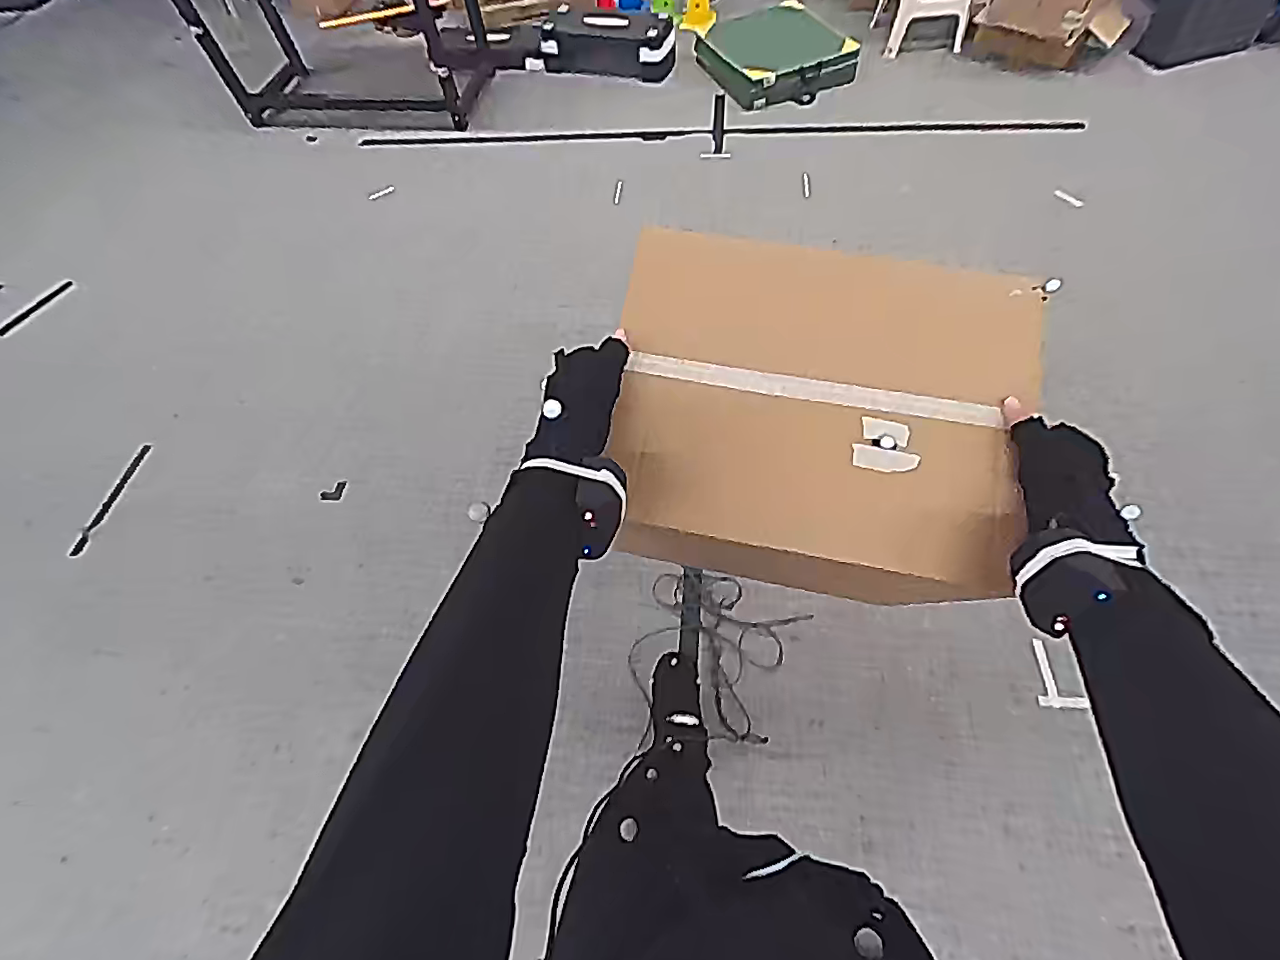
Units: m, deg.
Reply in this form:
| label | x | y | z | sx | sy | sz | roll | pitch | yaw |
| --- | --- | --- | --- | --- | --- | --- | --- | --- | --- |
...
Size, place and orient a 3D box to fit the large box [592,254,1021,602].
| label | x | y | z | sx | sy | sz | roll | pitch | yaw |
| --- | --- | --- | --- | --- | --- | --- | --- | --- | --- |
| large box | 0.177 | -0.037 | 0.687 | 0.408 | 0.320 | 0.320 | 10 | 77 | 5 |
